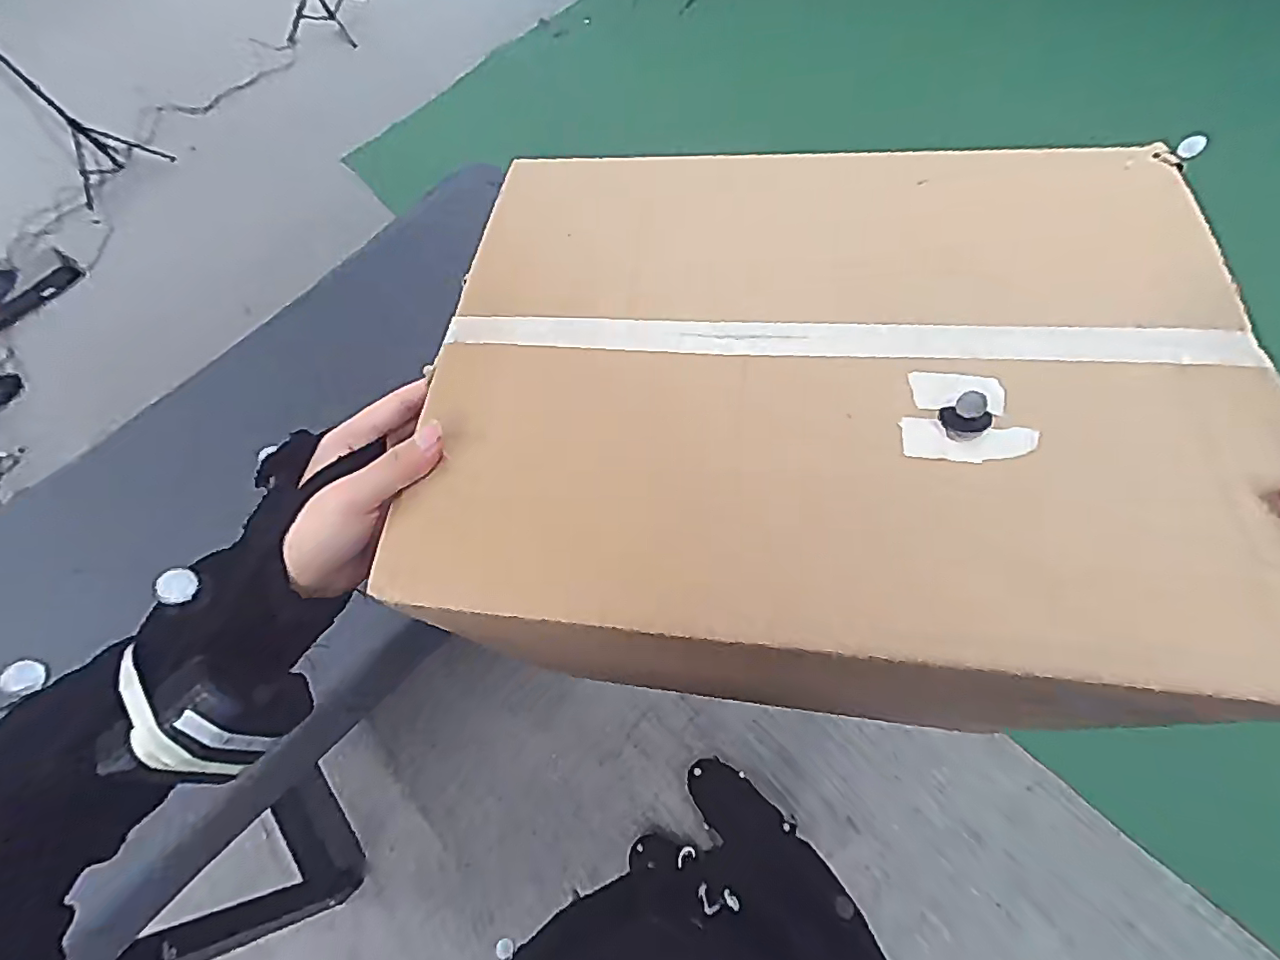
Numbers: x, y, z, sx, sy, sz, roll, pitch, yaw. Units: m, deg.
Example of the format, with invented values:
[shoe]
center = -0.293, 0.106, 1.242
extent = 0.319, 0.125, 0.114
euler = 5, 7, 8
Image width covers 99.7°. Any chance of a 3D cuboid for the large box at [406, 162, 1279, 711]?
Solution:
[large box]
center = 0.110, -0.012, 0.433
extent = 0.408, 0.320, 0.320
euler = 5, 65, 8
